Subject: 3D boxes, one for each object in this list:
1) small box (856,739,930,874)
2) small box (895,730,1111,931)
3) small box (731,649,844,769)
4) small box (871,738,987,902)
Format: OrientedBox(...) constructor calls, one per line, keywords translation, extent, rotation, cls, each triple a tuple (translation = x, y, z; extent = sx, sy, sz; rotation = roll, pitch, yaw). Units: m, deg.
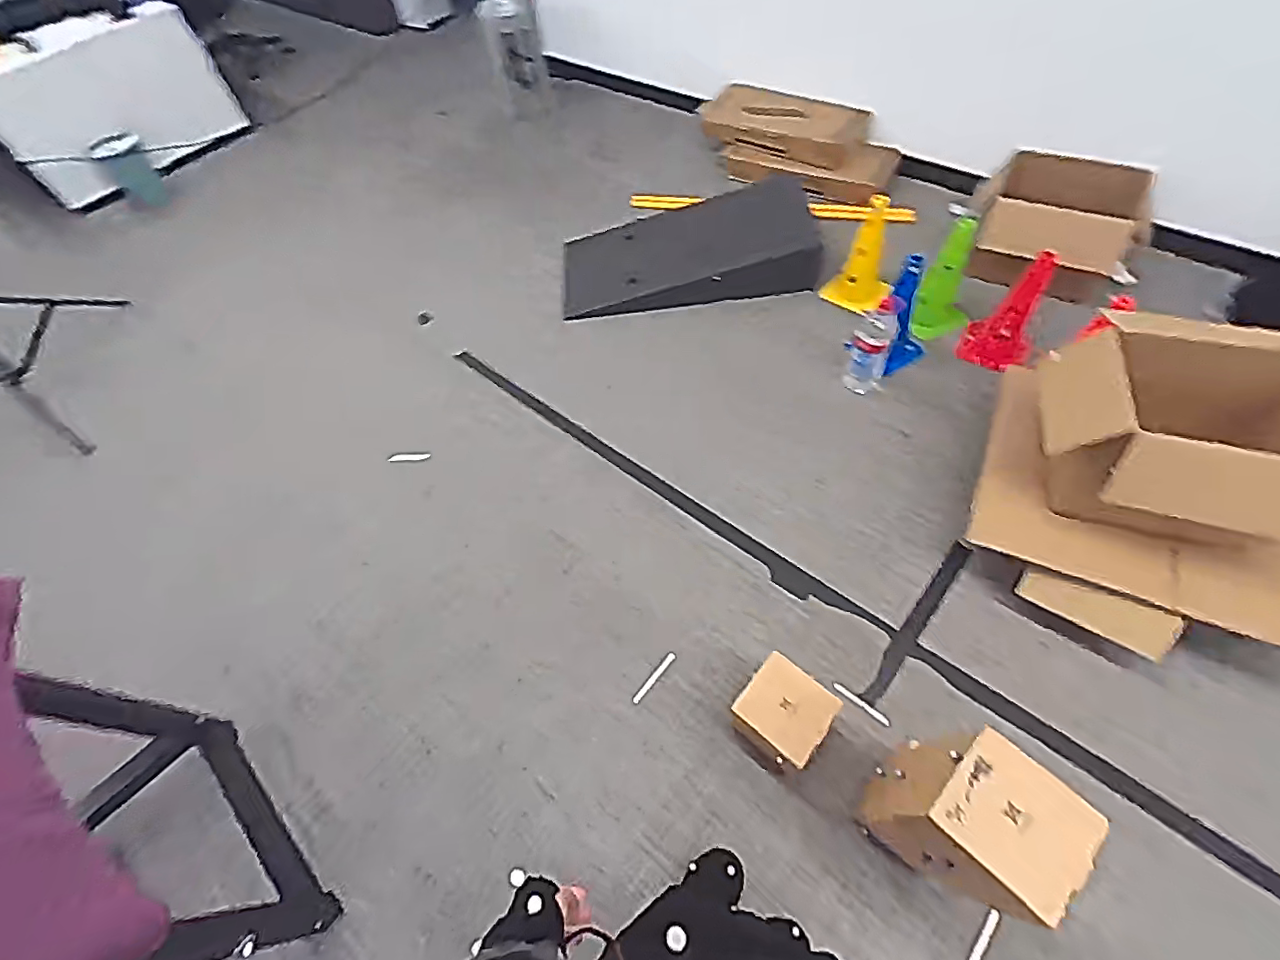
OrientedBox(translation=(0.559, 0.661, 1.090), extent=(0.168, 0.176, 0.179), rotation=(35, 67, 23), cls="small box")
OrientedBox(translation=(0.521, 0.504, 0.803), extent=(0.168, 0.176, 0.179), rotation=(-41, 64, -18), cls="small box")
OrientedBox(translation=(0.318, 0.516, 1.206), extent=(0.179, 0.176, 0.168), rotation=(36, 68, 24), cls="small box")
OrientedBox(translation=(0.537, 0.588, 0.943), extent=(0.179, 0.176, 0.168), rotation=(37, 69, 24), cls="small box")
